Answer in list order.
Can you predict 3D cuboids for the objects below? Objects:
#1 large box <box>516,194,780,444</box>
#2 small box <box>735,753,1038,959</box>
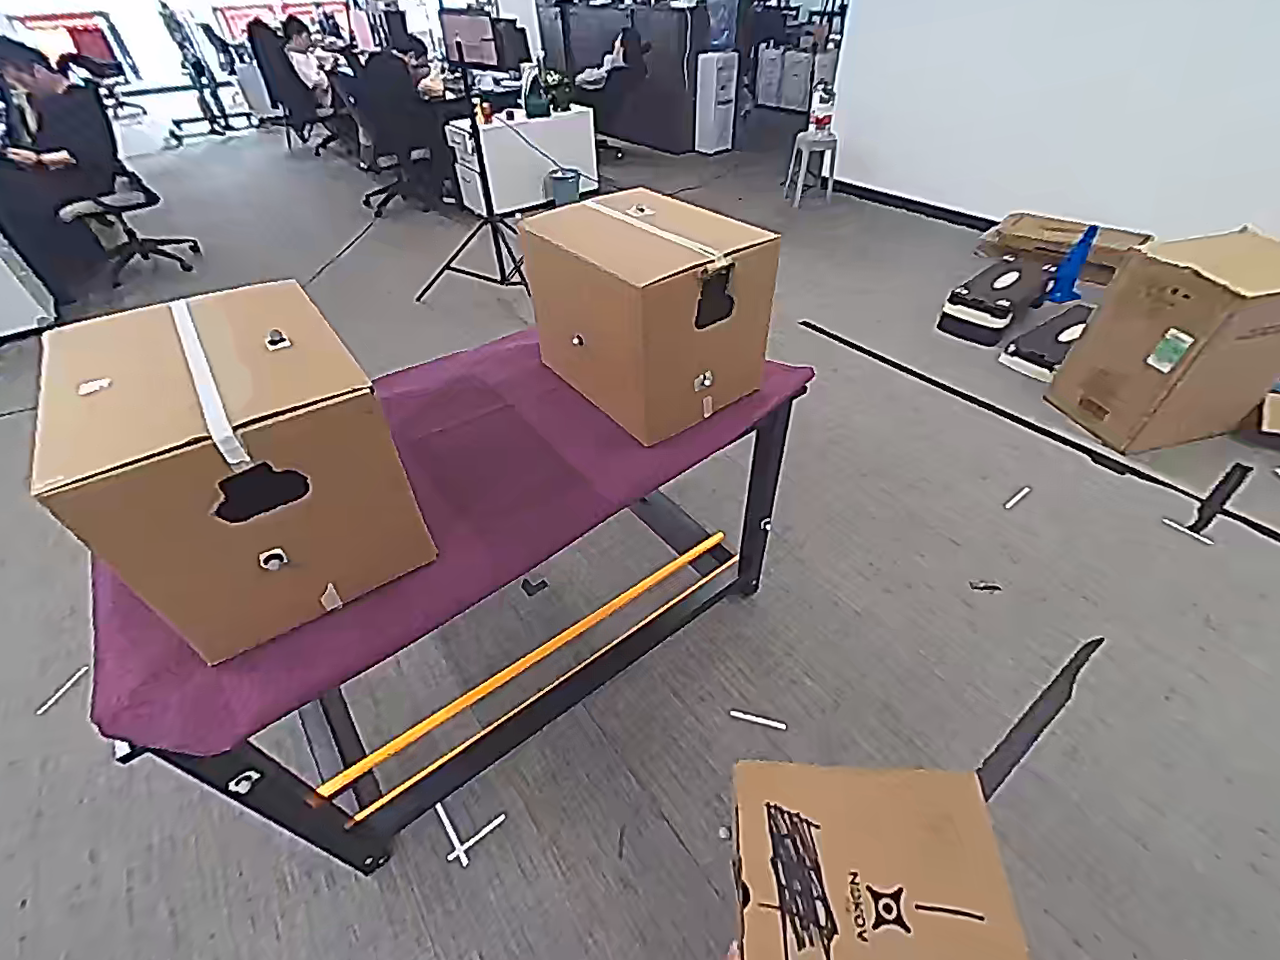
[{"bbox_3d":[0.011,-0.334,1.074,0.320,0.320,0.408,-28,48,-26],"label":"large box"},{"bbox_3d":[0.161,0.320,0.405,0.179,0.176,0.168,0,50,8],"label":"small box"}]
